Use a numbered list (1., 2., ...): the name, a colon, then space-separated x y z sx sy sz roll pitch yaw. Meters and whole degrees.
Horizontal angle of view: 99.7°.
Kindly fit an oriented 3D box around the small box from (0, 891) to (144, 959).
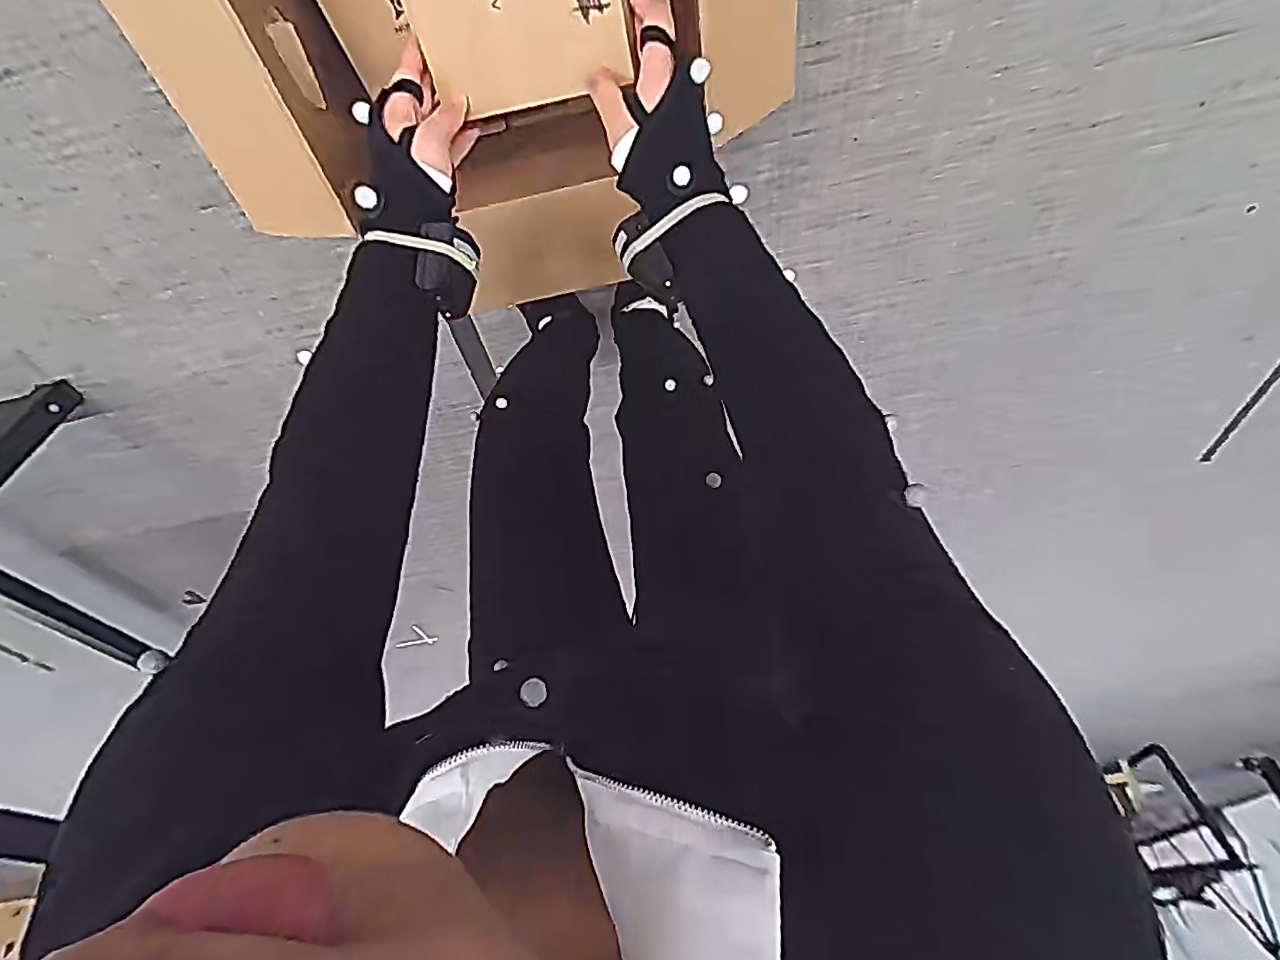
1. small box: -1.163 0.928 1.069 0.168 0.176 0.179 -10 137 6

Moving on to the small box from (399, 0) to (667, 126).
1. small box: -0.088 -0.426 0.460 0.179 0.176 0.168 1 134 18
